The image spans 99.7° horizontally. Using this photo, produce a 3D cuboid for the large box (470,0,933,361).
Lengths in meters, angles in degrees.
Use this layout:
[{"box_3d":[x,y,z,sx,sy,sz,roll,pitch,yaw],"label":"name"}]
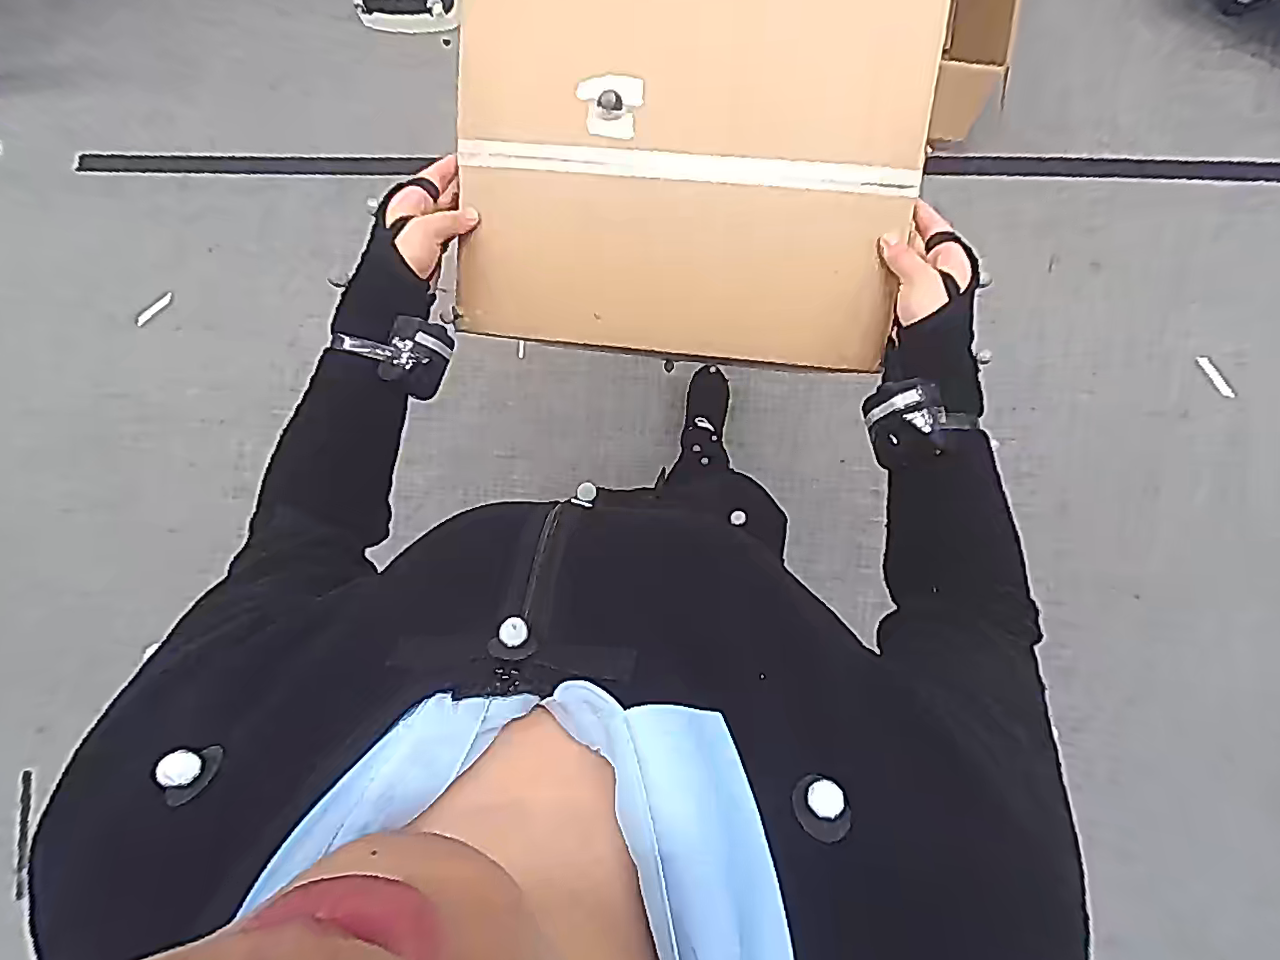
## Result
[{"box_3d":[0.055,-0.309,0.636,0.408,0.320,0.320,6,100,4],"label":"large box"}]
